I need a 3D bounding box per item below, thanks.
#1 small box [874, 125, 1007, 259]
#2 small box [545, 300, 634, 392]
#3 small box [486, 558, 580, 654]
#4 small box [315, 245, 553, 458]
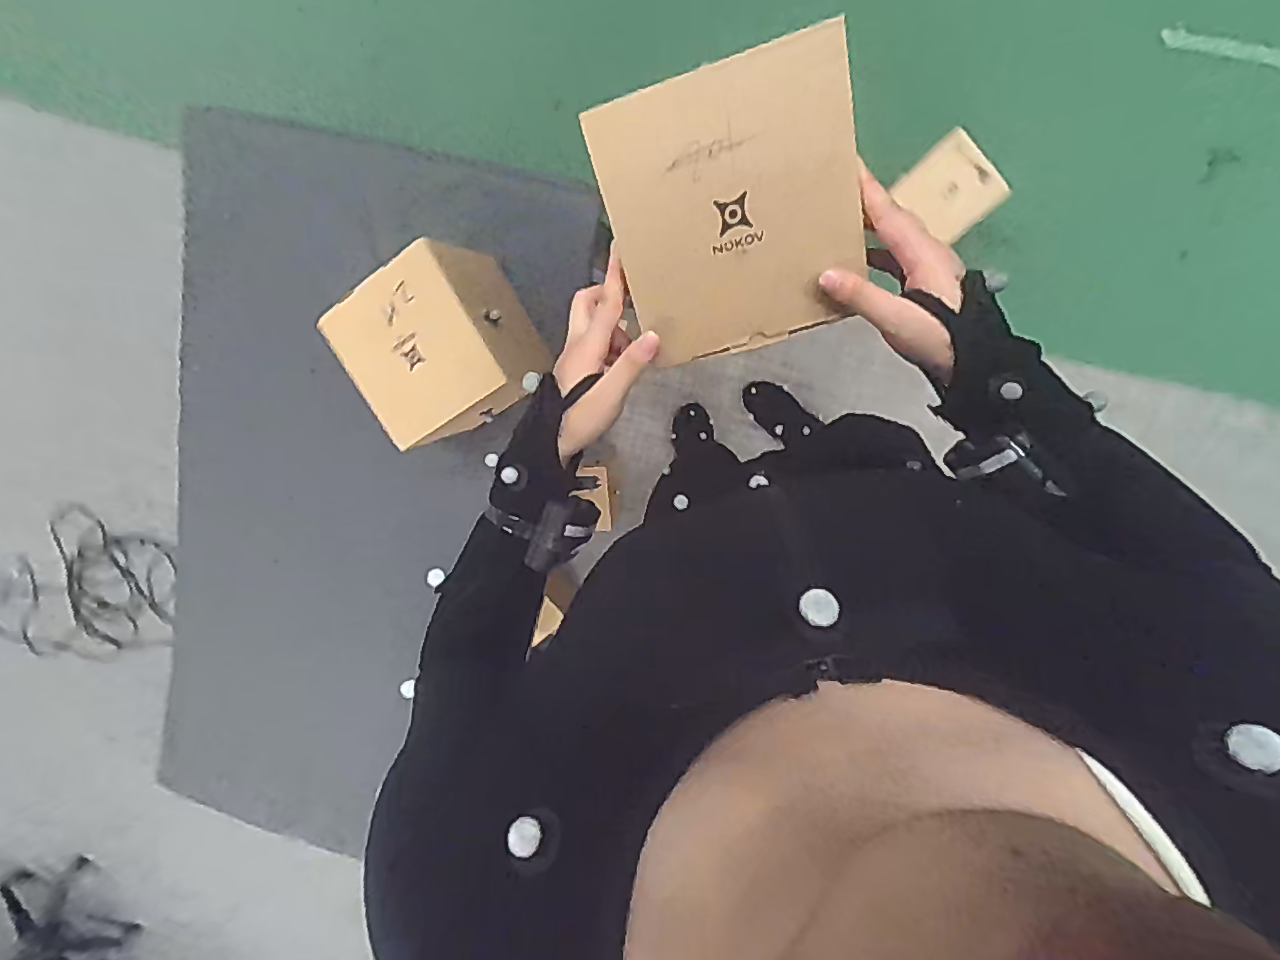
[{"bbox_3d":[0.636,-0.610,1.176,0.179,0.176,0.168,-41,94,16],"label":"small box"},{"bbox_3d":[-0.124,-0.334,1.359,0.168,0.176,0.179,20,105,3],"label":"small box"},{"bbox_3d":[-0.299,0.355,1.554,0.168,0.176,0.179,-42,93,16],"label":"small box"},{"bbox_3d":[-0.233,-0.153,0.658,0.168,0.176,0.179,-28,97,17],"label":"small box"}]
